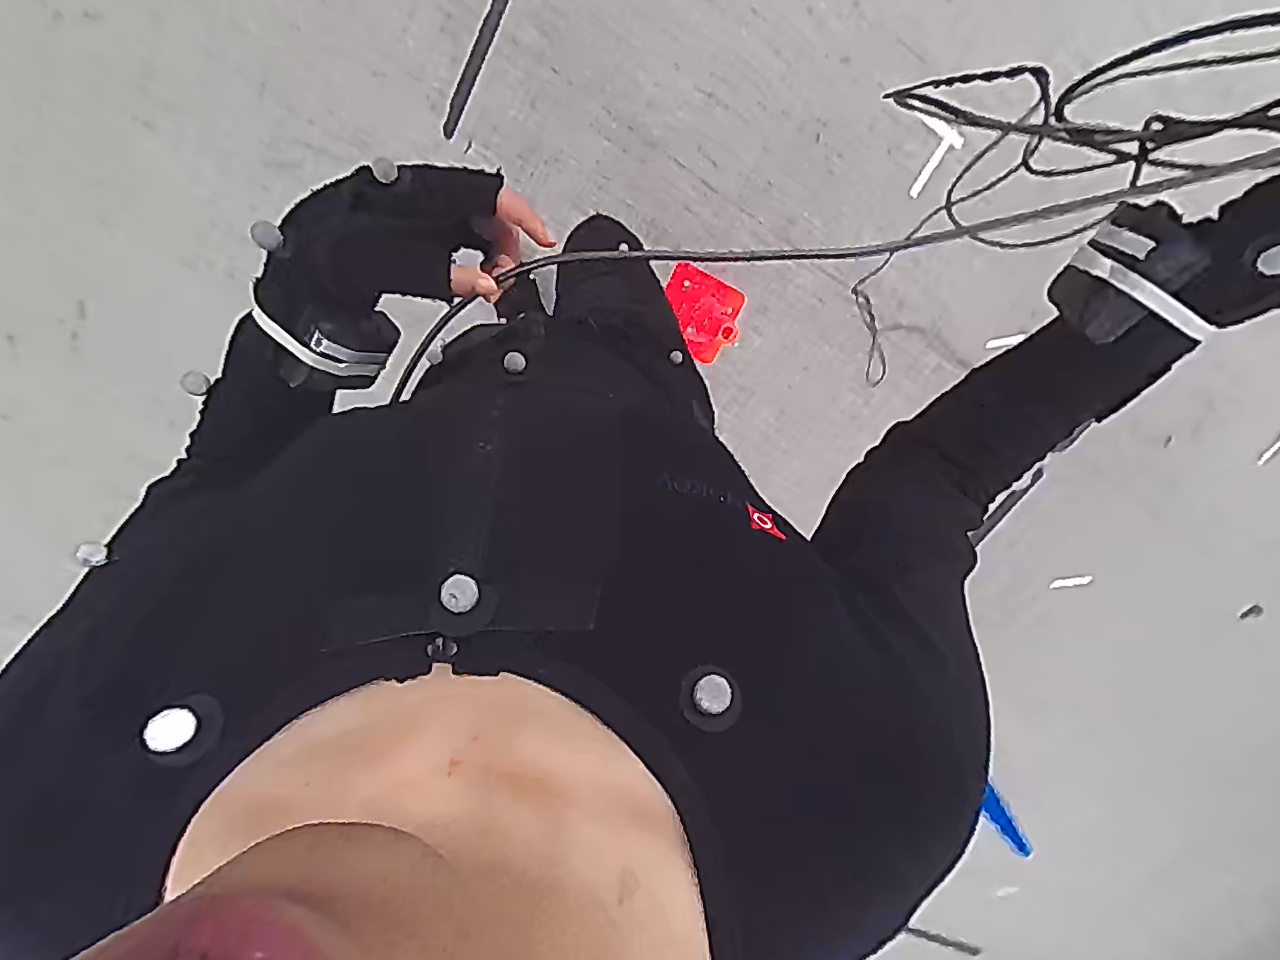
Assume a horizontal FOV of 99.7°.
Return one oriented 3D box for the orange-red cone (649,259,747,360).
[{"bbox_3d":[0.155,-0.352,1.193,0.198,0.360,0.199,24,110,-13],"label":"orange-red cone"}]
